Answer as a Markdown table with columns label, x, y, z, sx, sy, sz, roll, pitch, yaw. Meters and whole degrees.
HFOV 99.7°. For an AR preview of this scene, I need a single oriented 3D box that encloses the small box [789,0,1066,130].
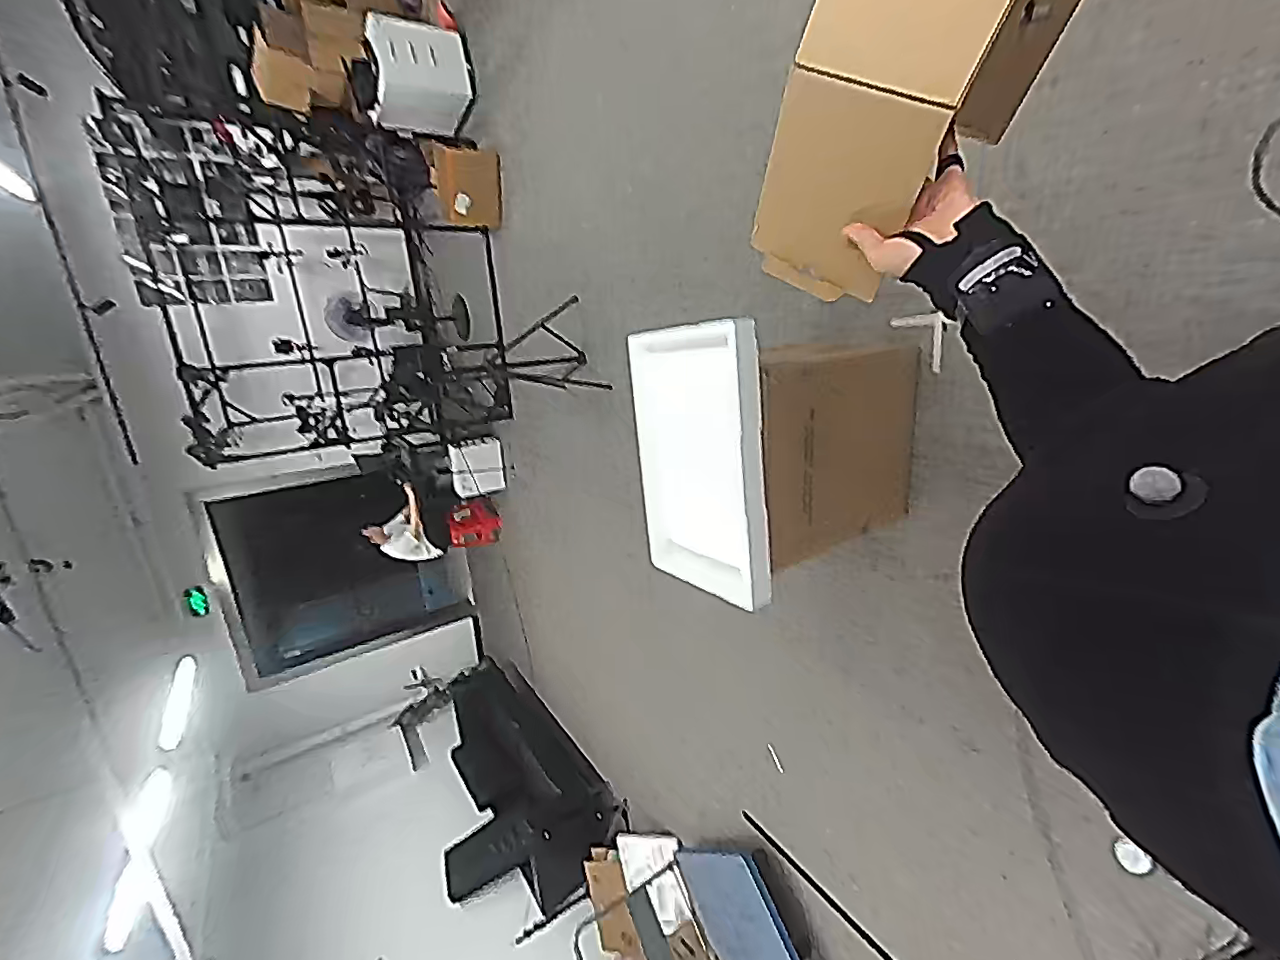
| label | x | y | z | sx | sy | sz | roll | pitch | yaw |
| --- | --- | --- | --- | --- | --- | --- | --- | --- | --- |
| small box | 0.273 | -0.443 | 0.486 | 0.168 | 0.176 | 0.179 | 39 | 129 | 26 |
